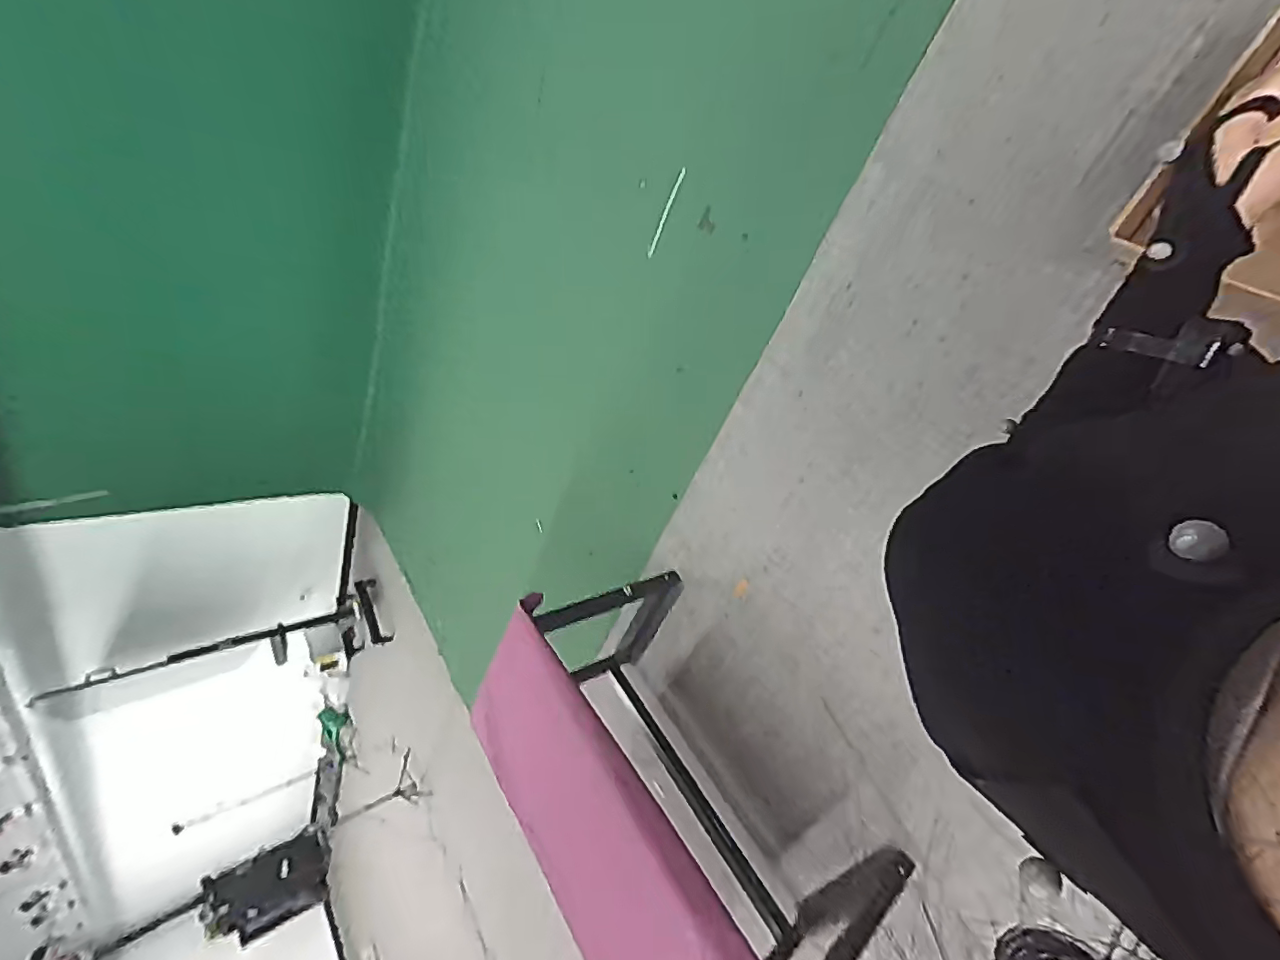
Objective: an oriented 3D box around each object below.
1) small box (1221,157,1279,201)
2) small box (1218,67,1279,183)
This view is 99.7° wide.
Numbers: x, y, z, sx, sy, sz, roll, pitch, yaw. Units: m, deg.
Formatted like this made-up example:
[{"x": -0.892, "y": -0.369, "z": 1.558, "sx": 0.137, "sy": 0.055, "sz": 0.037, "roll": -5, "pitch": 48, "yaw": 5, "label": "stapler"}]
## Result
[{"x": 1.077, "y": -0.542, "z": 0.848, "sx": 0.179, "sy": 0.176, "sz": 0.168, "roll": 41, "pitch": 125, "yaw": 33, "label": "small box"}, {"x": 0.961, "y": -0.509, "z": 0.737, "sx": 0.168, "sy": 0.176, "sz": 0.179, "roll": 45, "pitch": 128, "yaw": 31, "label": "small box"}]
